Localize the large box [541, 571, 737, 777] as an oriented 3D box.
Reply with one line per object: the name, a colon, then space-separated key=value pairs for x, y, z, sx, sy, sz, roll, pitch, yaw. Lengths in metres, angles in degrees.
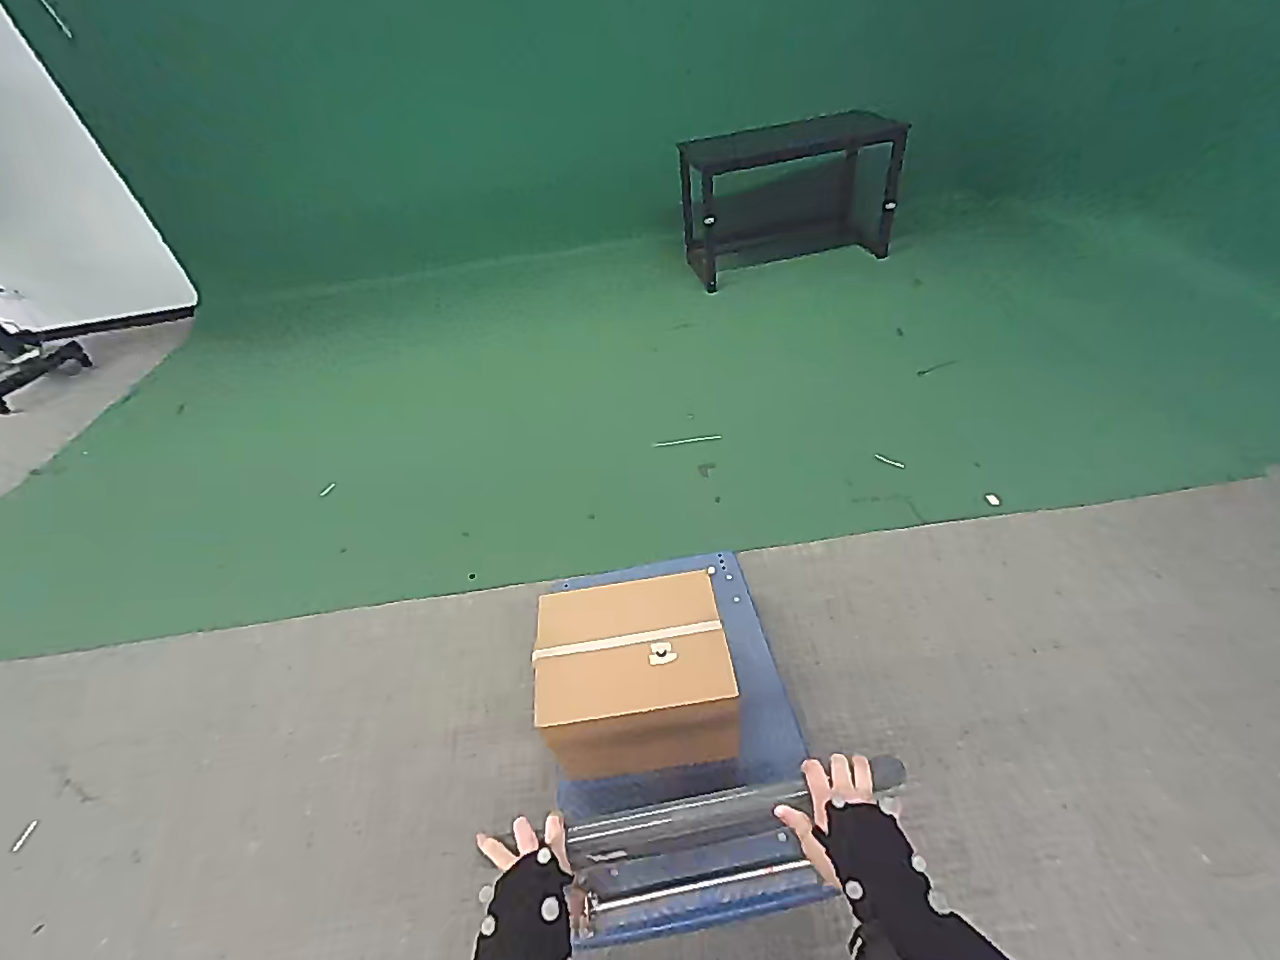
large box: x=-0.004 y=0.458 z=1.280 sx=0.408 sy=0.320 sz=0.320 roll=-9 pitch=43 yaw=0
